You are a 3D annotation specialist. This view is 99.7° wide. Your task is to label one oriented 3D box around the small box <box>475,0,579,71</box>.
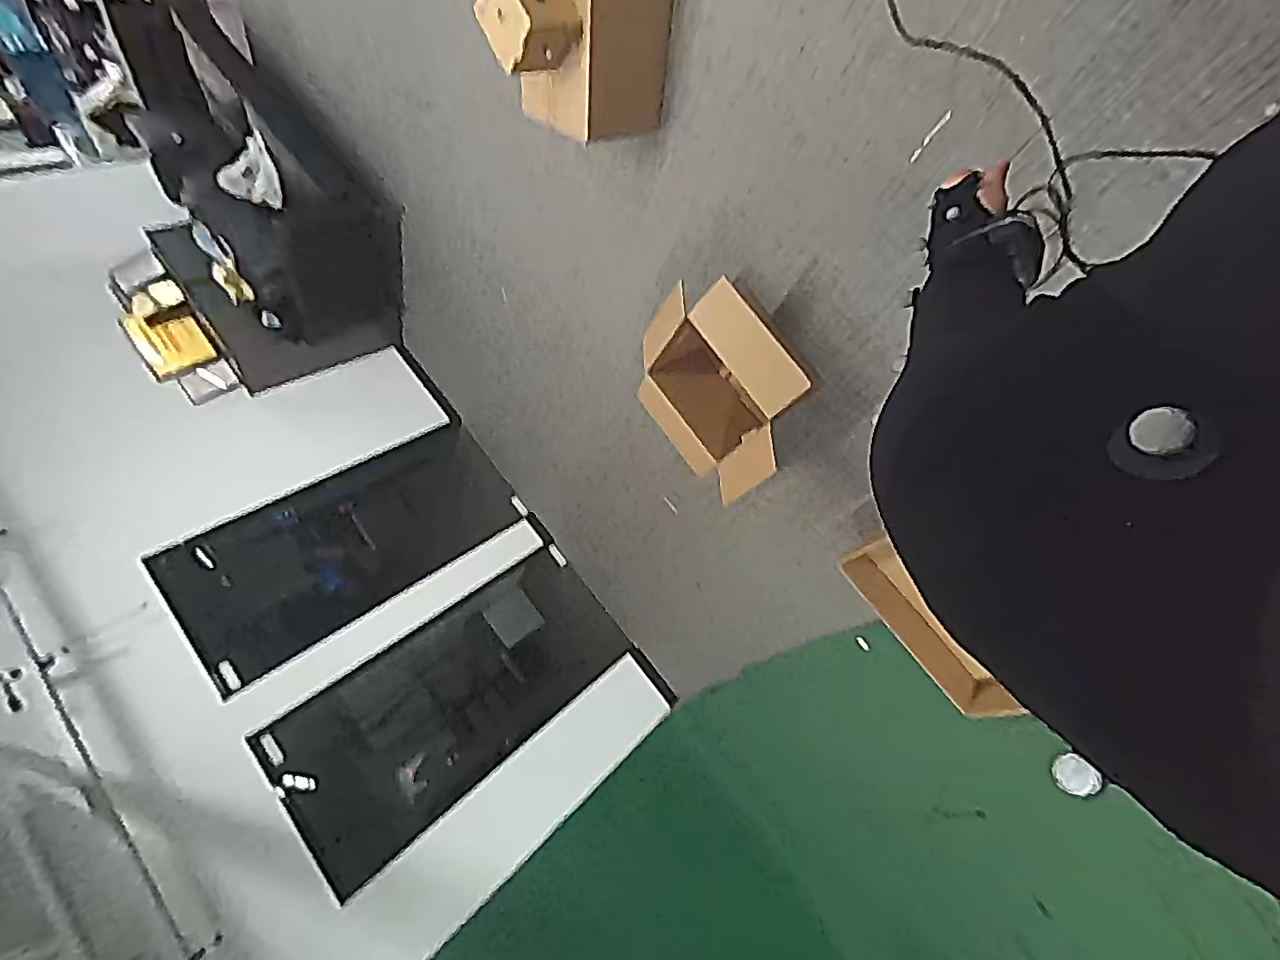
[{"bbox_3d":[-0.286,-1.204,1.389,0.168,0.176,0.179,-16,107,55],"label":"small box"}]
